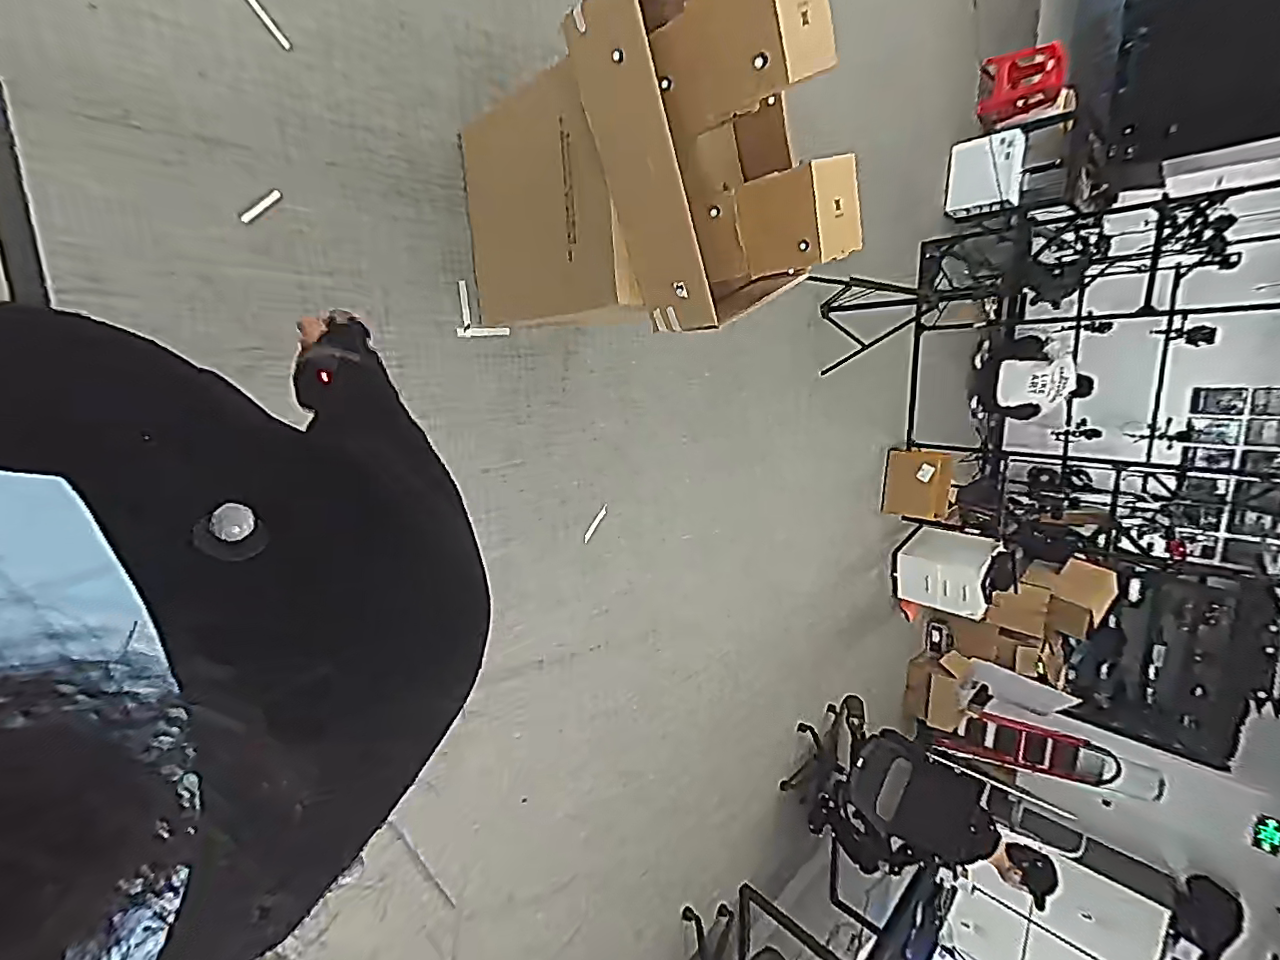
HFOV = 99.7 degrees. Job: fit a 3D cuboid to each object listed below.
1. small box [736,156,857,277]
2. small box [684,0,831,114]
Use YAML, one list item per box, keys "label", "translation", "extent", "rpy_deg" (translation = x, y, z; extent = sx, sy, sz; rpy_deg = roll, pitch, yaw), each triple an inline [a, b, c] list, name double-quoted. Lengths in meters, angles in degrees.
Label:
- label: "small box"
  translation: [0.312, -0.524, 1.086]
  extent: [0.168, 0.176, 0.179]
  rpy_deg: [-32, 118, -35]
- label: "small box"
  translation: [0.204, -0.768, 0.941]
  extent: [0.168, 0.176, 0.179]
  rpy_deg: [-41, 123, -31]
